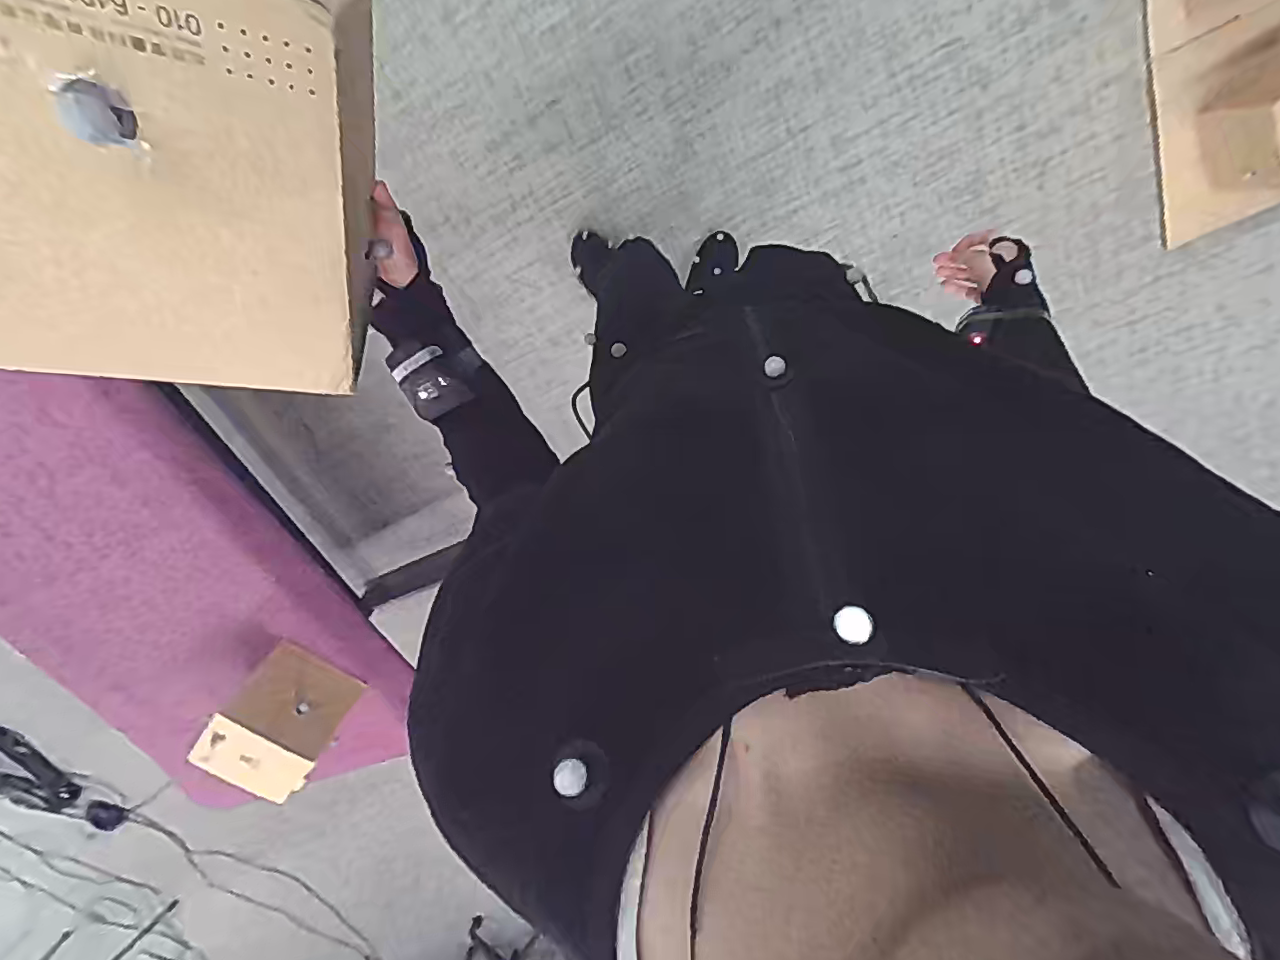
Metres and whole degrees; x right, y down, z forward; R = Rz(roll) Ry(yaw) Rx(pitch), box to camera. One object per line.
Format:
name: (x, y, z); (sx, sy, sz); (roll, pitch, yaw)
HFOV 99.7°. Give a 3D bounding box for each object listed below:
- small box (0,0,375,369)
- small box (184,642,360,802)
small box: (-0.221, -0.178, 0.256); (0.168, 0.179, 0.176); (2, 133, -23)
small box: (-0.643, 0.425, 0.965); (0.179, 0.176, 0.168); (37, 114, -15)
